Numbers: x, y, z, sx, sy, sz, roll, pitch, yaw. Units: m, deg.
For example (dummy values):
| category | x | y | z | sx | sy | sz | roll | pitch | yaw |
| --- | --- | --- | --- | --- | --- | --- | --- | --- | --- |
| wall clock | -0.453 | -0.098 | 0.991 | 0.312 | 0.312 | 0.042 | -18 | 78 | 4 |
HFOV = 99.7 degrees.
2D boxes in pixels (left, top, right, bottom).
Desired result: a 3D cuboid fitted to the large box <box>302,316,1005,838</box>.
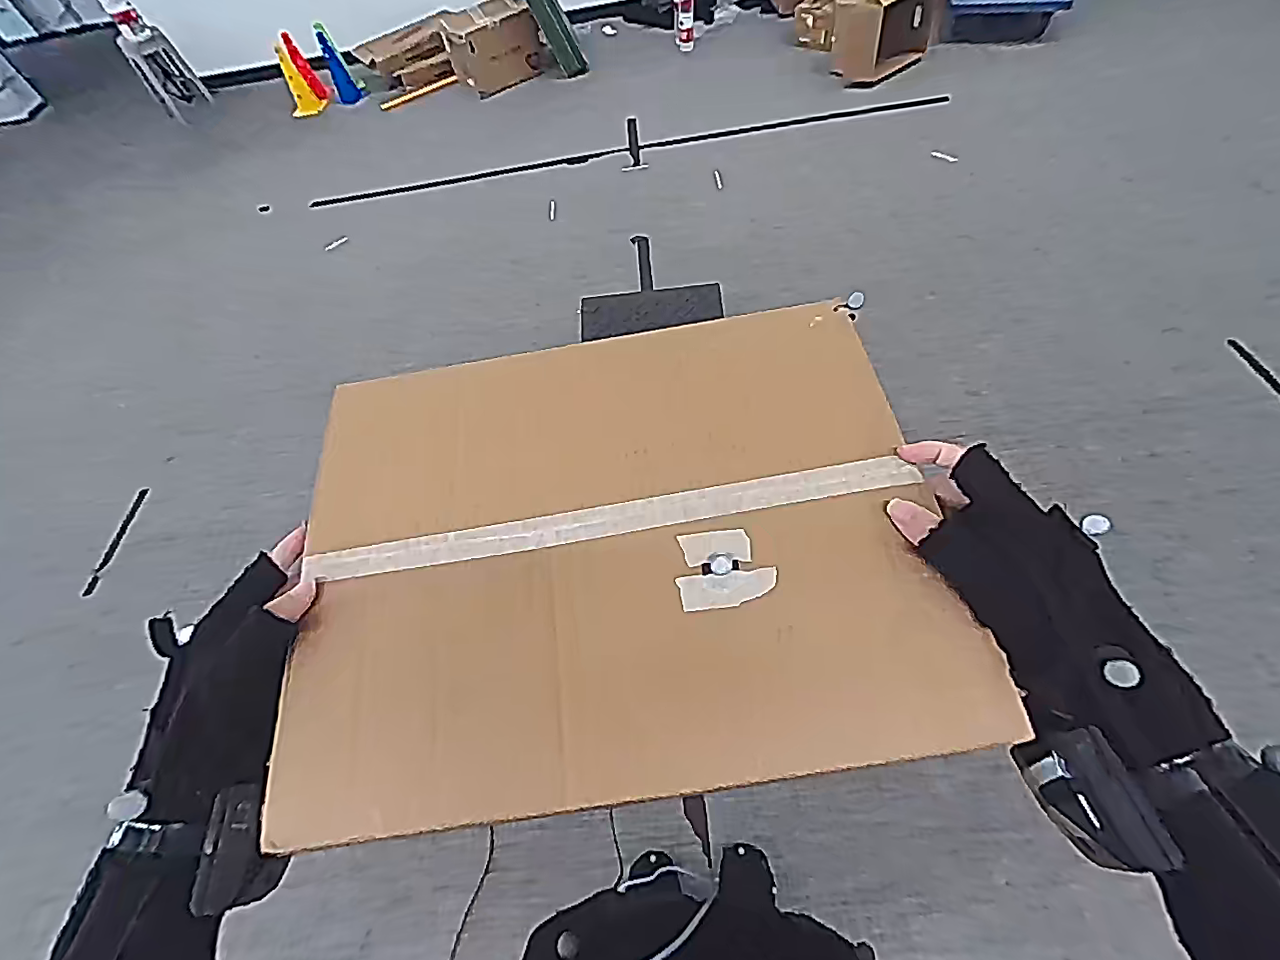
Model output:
| category | x | y | z | sx | sy | sz | roll | pitch | yaw |
| --- | --- | --- | --- | --- | --- | --- | --- | --- | --- |
| large box | -0.002 | 0.102 | 0.497 | 0.408 | 0.320 | 0.320 | -9 | 62 | 1 |
